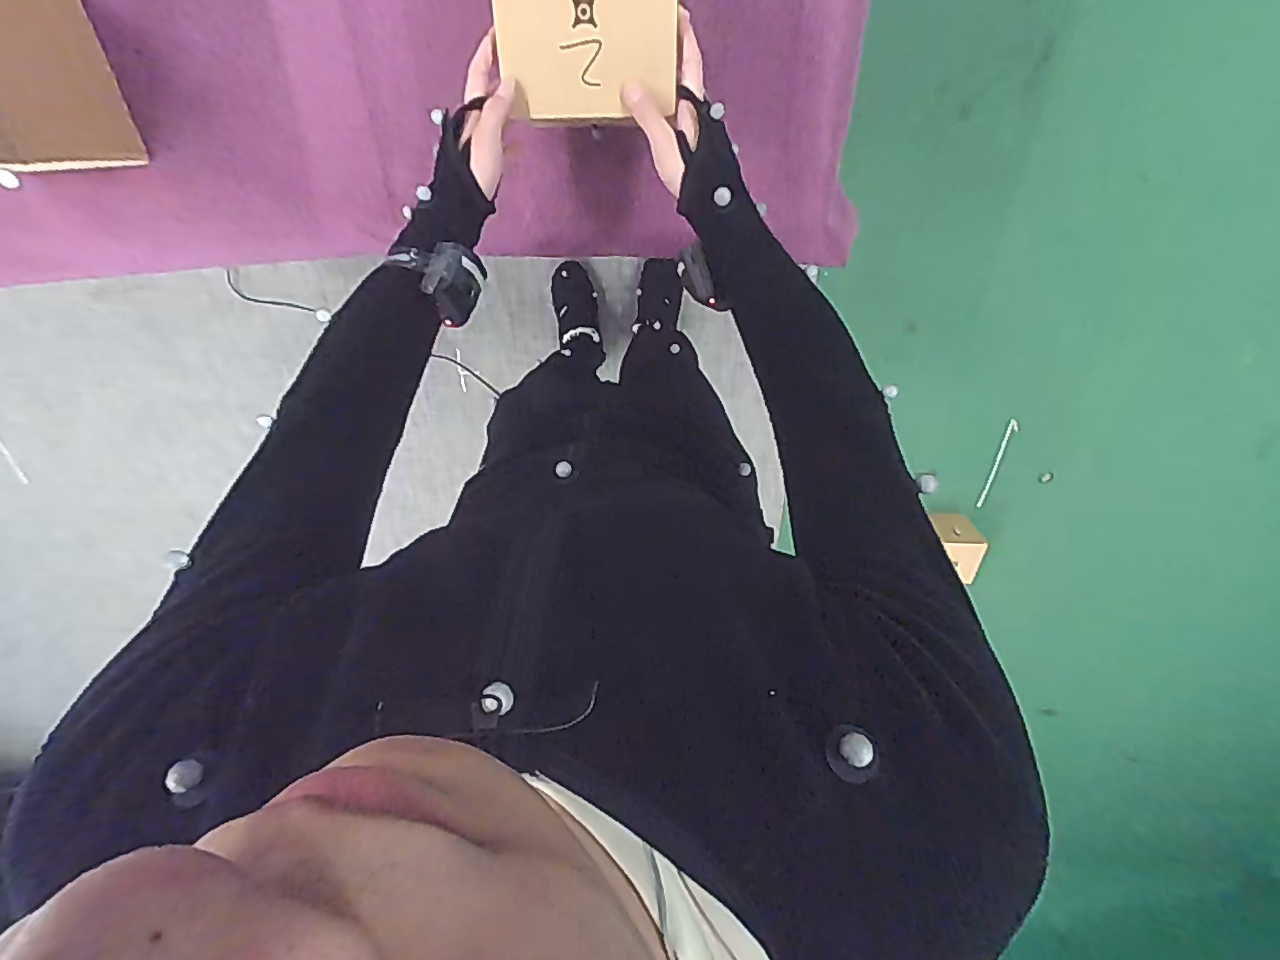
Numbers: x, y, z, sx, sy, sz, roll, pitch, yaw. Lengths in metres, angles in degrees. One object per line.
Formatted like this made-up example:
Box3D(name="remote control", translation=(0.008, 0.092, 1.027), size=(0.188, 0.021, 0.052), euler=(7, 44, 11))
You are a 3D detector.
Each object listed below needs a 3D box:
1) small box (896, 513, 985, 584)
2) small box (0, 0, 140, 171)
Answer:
Box3D(name="small box", translation=(0.977, 0.223, 1.774), size=(0.179, 0.176, 0.168), euler=(2, 121, 0))
Box3D(name="small box", translation=(-0.703, -0.428, 0.572), size=(0.168, 0.176, 0.179), euler=(-2, 120, 2))
